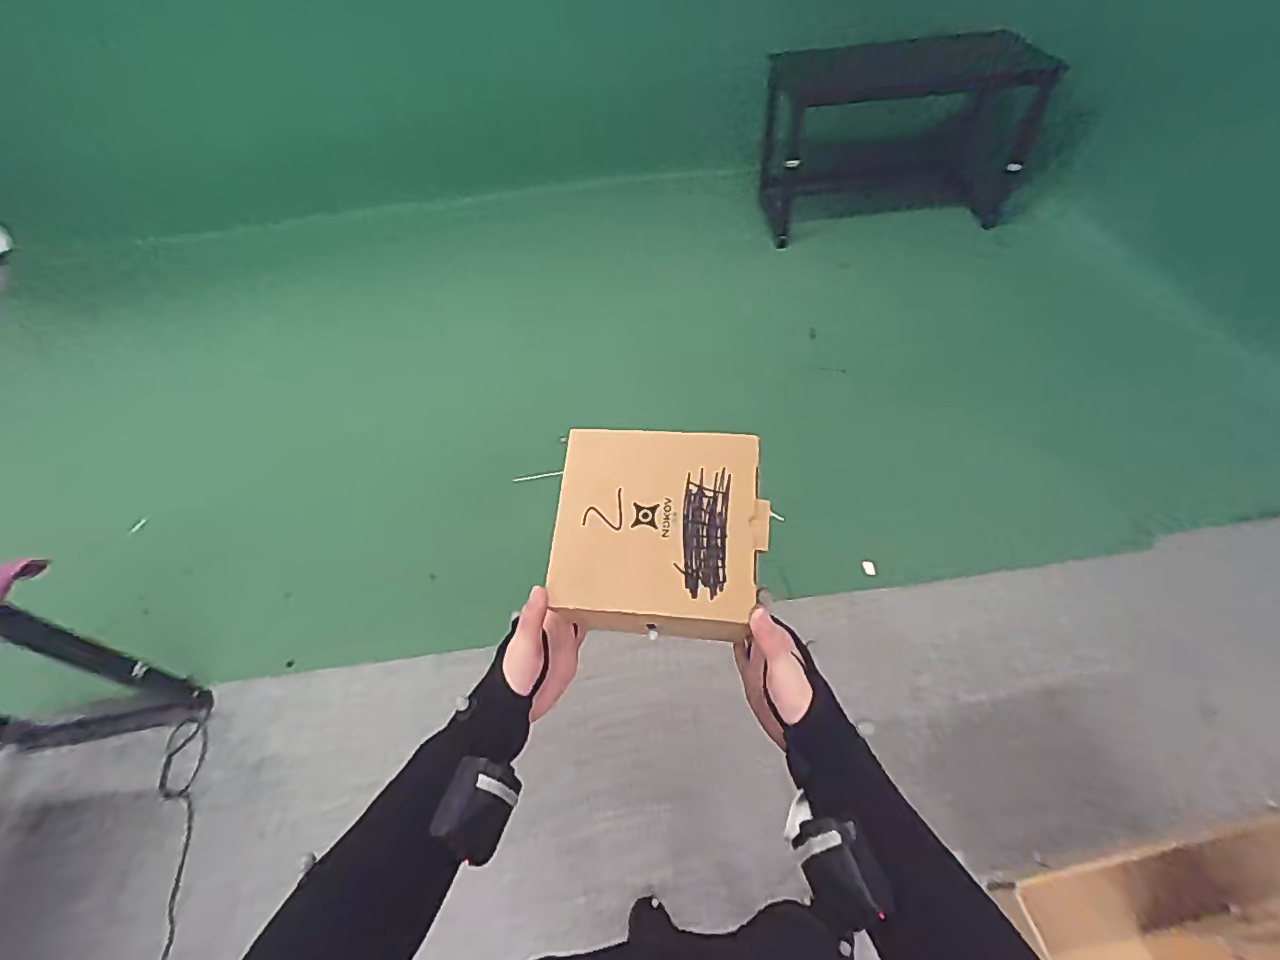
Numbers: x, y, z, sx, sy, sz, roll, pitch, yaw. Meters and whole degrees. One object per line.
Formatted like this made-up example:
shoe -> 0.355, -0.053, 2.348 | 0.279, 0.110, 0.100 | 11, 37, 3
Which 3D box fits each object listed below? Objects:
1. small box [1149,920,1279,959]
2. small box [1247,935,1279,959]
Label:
small box -> 0.892, 0.740, 0.756 | 0.168, 0.176, 0.179 | -9, 52, -4
small box -> 0.890, 0.638, 0.627 | 0.179, 0.176, 0.168 | -7, 52, -3
